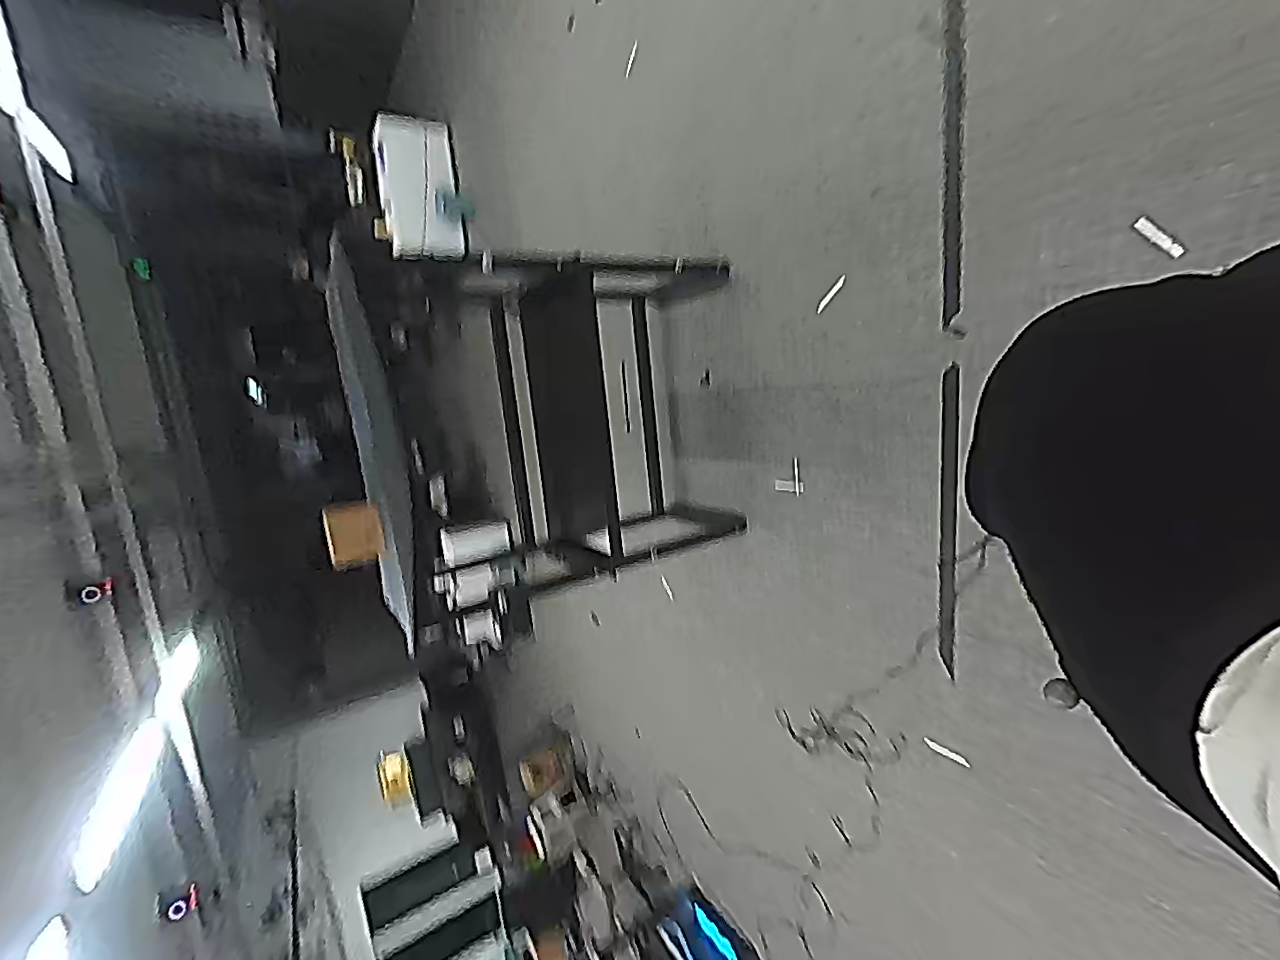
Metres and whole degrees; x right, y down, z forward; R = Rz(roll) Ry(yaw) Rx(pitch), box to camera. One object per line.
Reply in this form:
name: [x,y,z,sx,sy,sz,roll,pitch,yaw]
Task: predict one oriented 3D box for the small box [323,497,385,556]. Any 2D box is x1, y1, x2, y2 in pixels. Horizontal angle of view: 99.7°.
small box: [-1.028,0.160,1.945,0.179,0.176,0.168,7,106,56]
